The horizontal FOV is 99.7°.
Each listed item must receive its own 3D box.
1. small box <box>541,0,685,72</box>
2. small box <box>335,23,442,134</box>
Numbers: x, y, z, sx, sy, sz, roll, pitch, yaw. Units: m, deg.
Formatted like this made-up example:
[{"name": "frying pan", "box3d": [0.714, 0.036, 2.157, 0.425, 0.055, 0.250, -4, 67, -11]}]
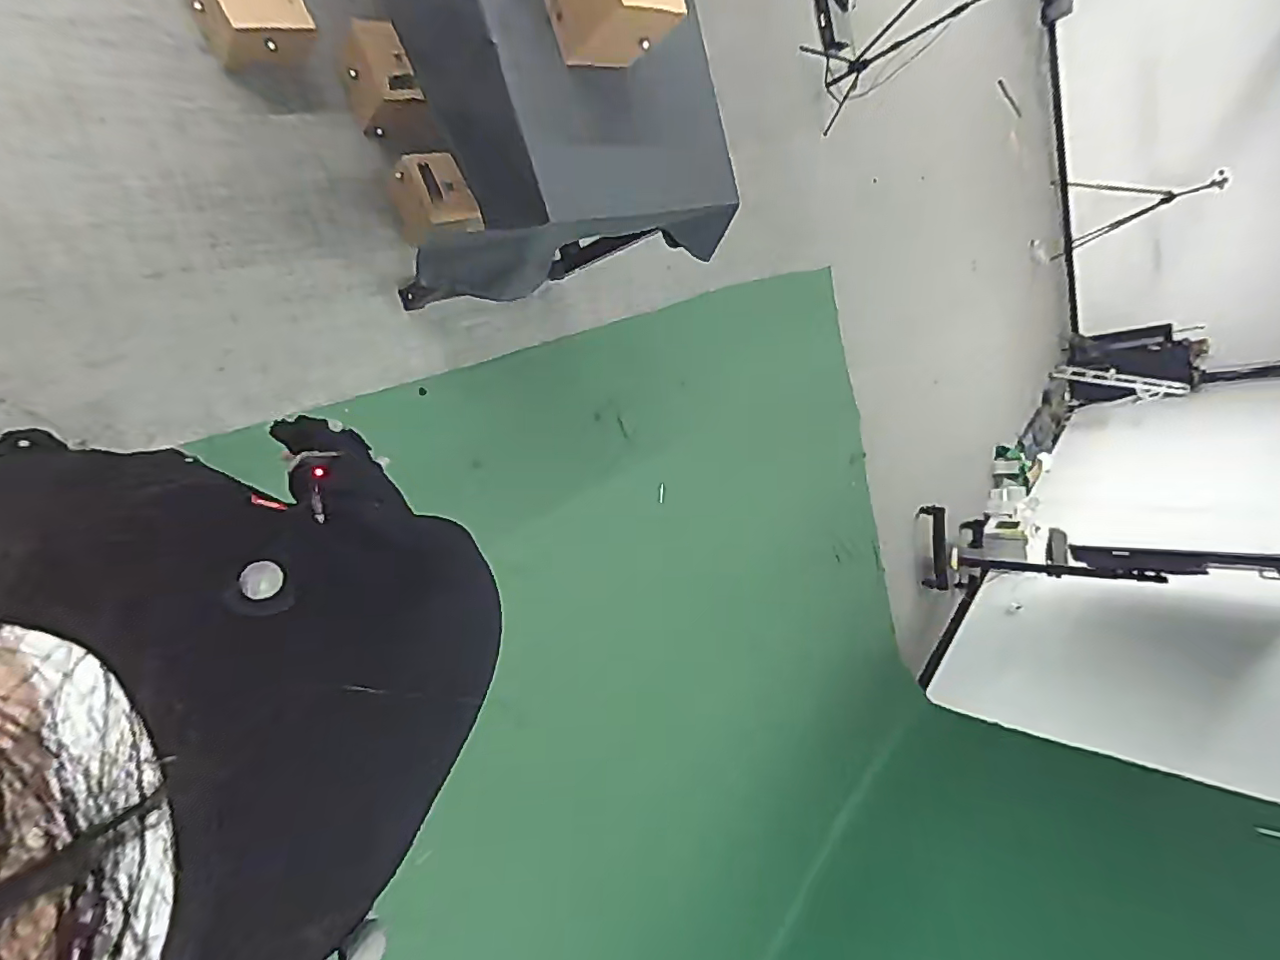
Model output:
[{"name": "small box", "box3d": [-0.054, -0.854, 0.950, 0.179, 0.176, 0.168, -33, 111, -38]}, {"name": "small box", "box3d": [-0.647, -1.017, 1.388, 0.168, 0.176, 0.179, -32, 110, -38]}]
